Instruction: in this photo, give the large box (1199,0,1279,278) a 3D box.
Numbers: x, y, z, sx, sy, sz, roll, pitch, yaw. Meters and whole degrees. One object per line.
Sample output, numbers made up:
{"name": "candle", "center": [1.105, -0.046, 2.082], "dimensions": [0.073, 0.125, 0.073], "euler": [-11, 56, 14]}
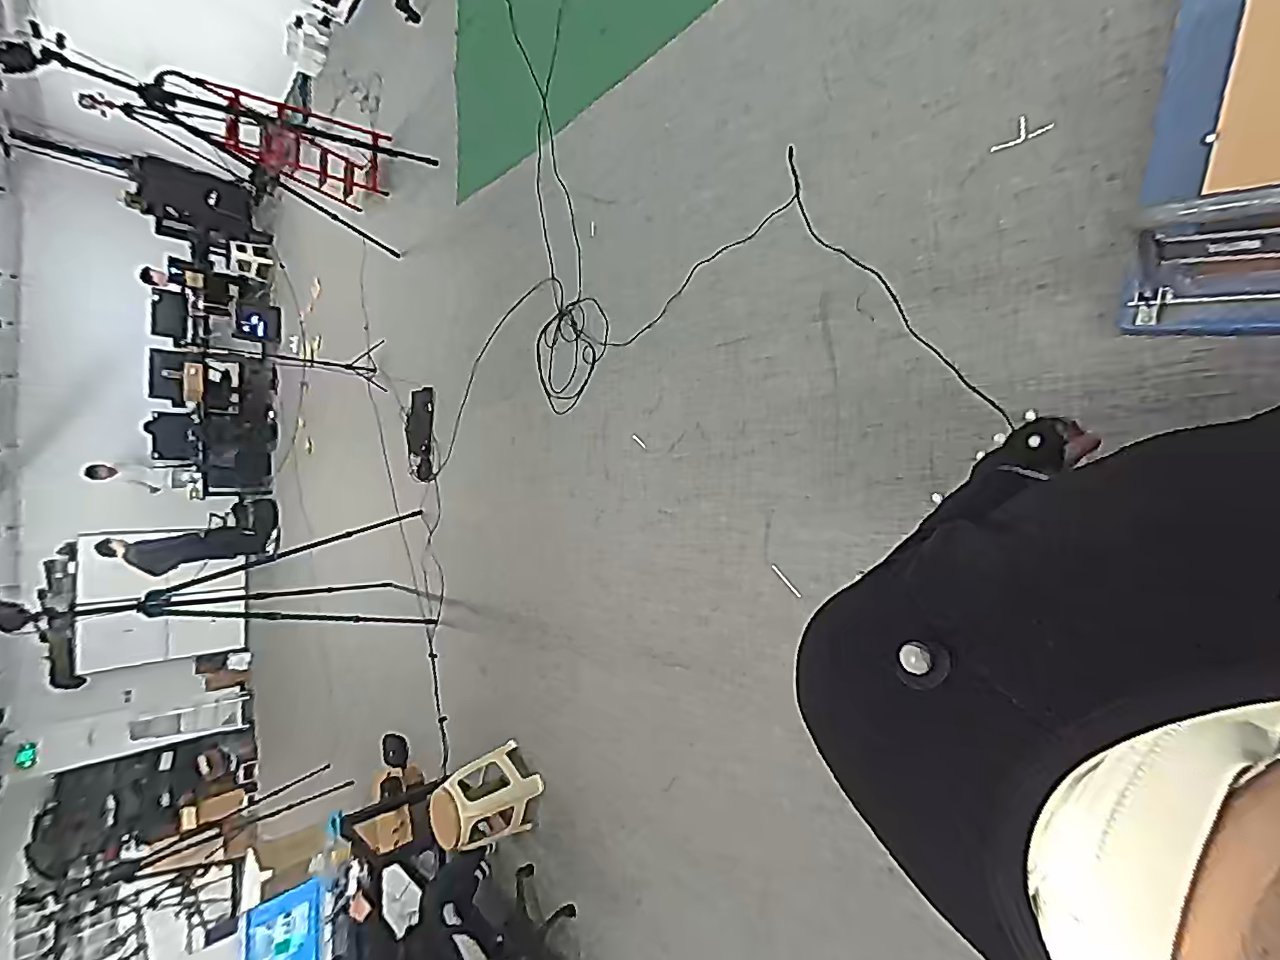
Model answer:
{"name": "large box", "center": [1.114, -0.571, 0.830], "dimensions": [0.320, 0.320, 0.408], "euler": [13, 97, 44]}
